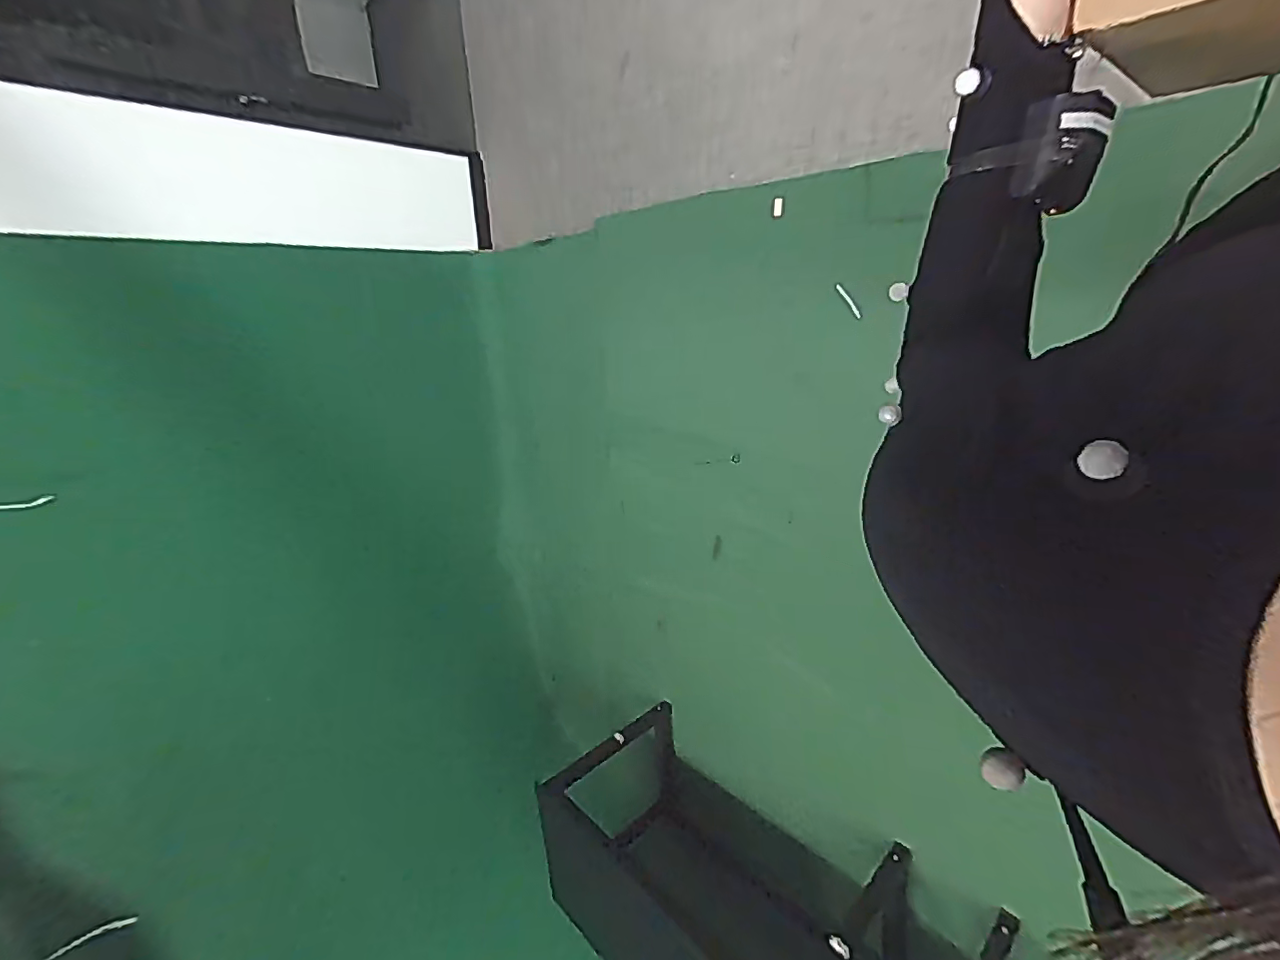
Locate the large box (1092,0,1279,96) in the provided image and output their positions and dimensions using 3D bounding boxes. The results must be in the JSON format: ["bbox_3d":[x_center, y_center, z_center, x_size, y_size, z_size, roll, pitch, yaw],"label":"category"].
[{"bbox_3d":[0.521,-0.440,0.256,0.408,0.320,0.320,17,120,44],"label":"large box"}]
